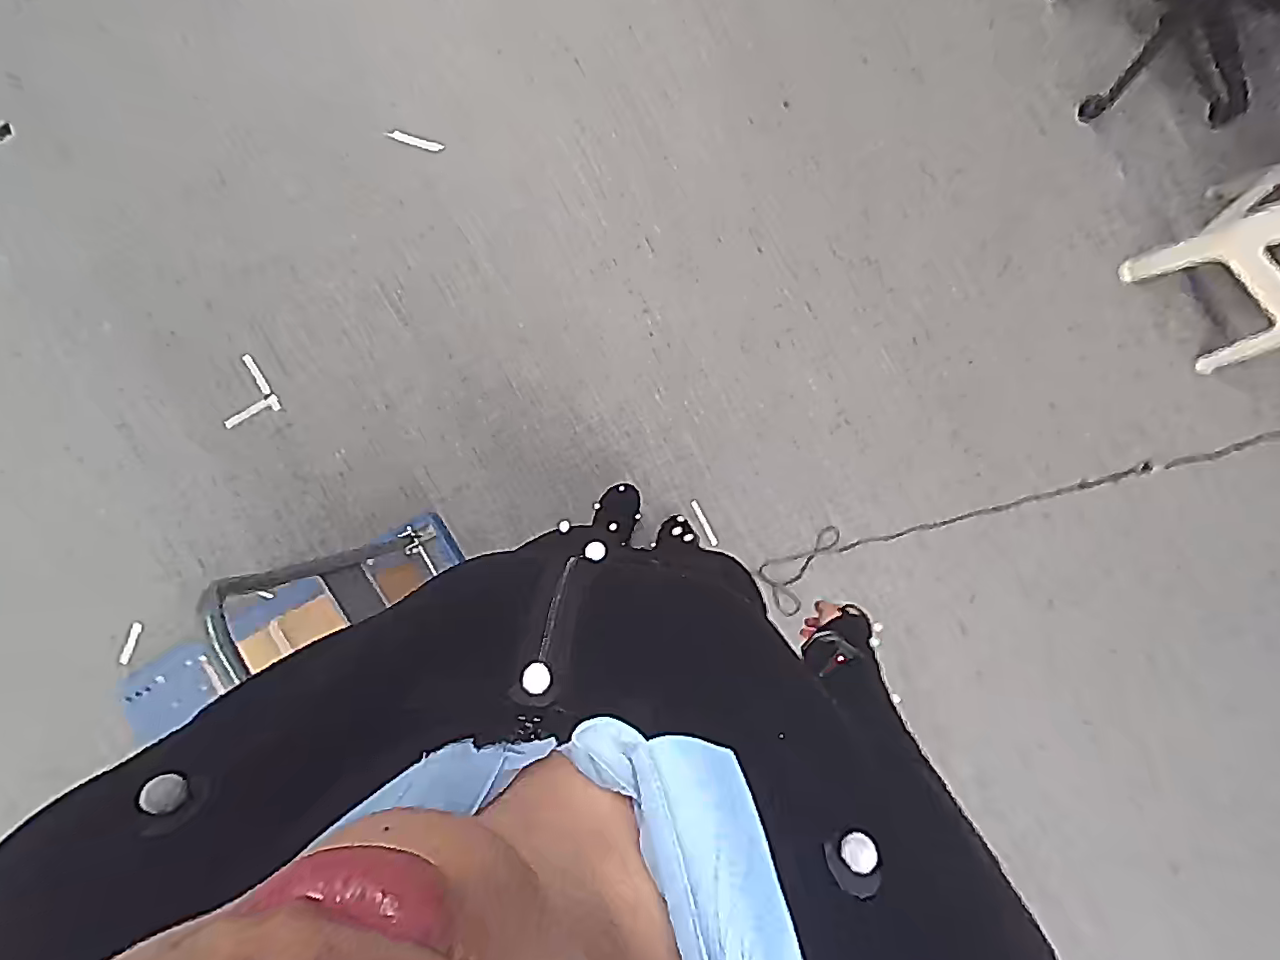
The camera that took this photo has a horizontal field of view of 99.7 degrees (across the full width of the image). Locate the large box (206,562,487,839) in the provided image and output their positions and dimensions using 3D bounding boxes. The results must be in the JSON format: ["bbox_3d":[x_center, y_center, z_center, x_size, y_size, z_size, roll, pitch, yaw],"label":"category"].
[{"bbox_3d":[-0.595,0.440,1.171,0.320,0.320,0.408,-29,89,-2],"label":"large box"}]
